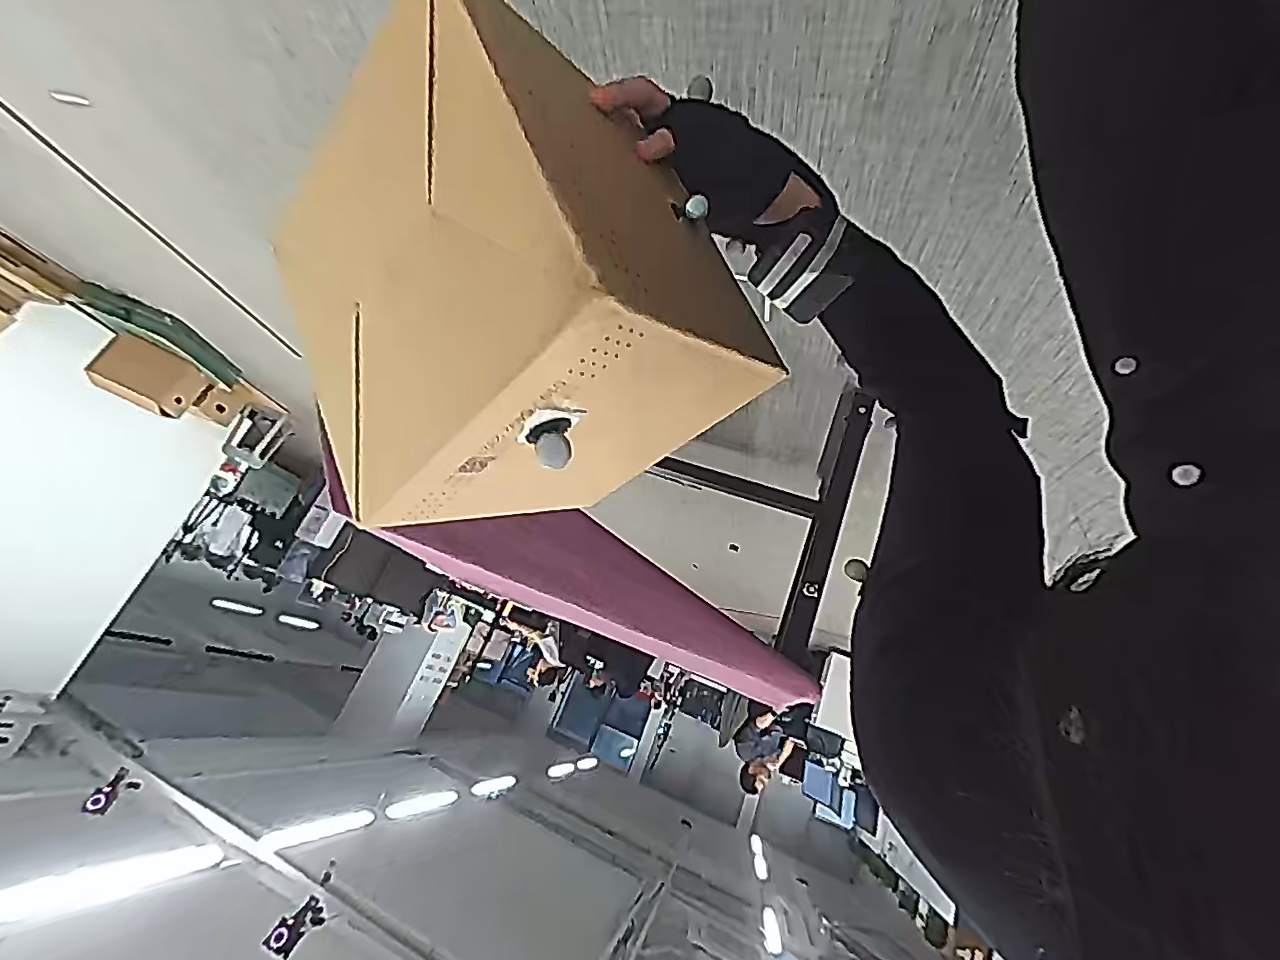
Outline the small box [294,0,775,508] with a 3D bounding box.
[{"bbox_3d":[-0.061,-0.098,0.296,0.168,0.179,0.176,-33,162,33],"label":"small box"}]
